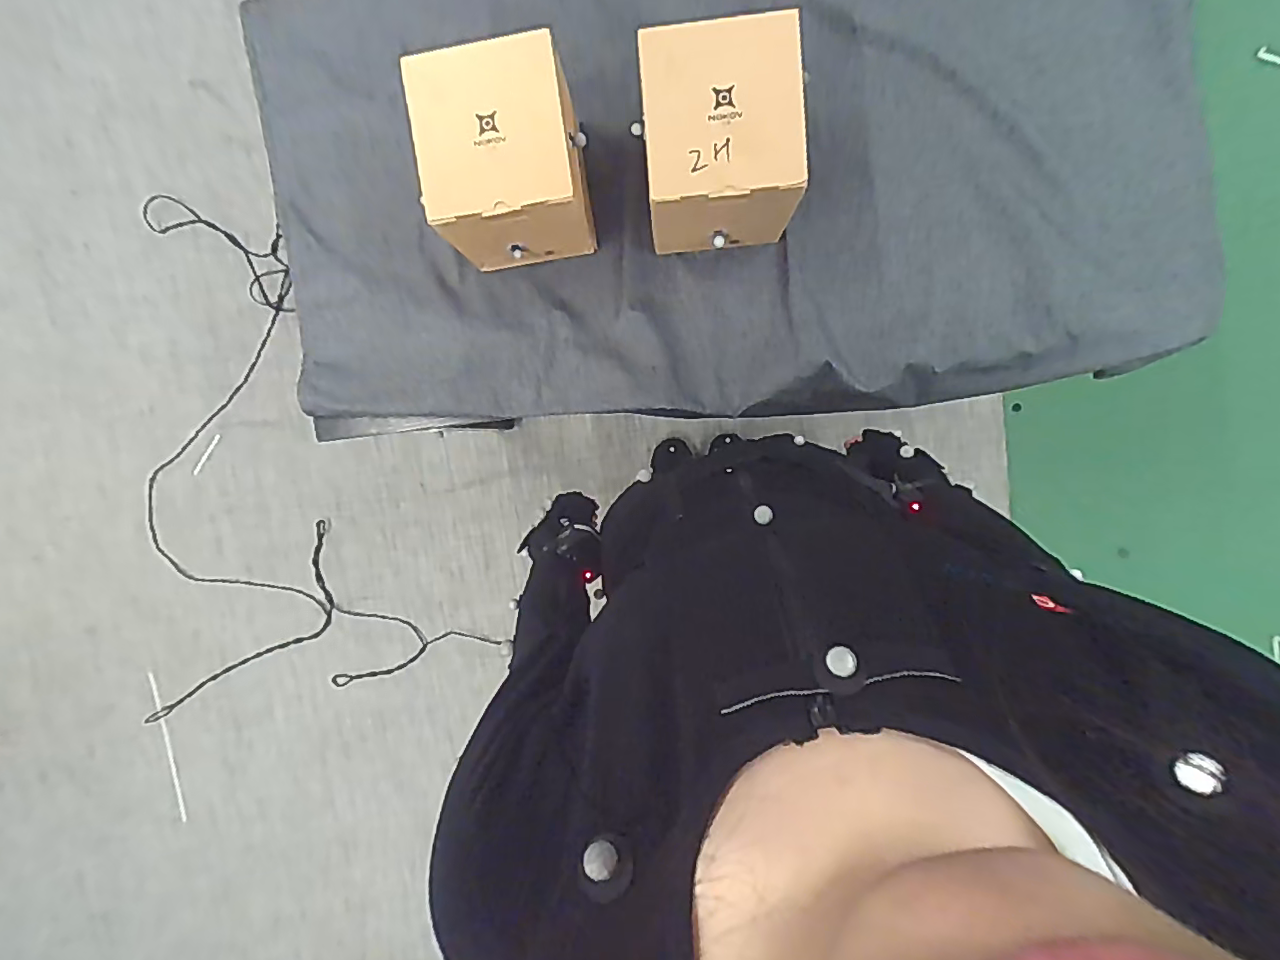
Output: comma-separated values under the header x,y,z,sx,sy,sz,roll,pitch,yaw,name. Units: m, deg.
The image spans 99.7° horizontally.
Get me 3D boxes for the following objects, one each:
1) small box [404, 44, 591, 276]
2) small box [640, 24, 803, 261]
x,y,z,sx,sy,sz,roll,pitch,yaw,name
-0.160,-0.372,0.660,0.168,0.176,0.179,-8,94,4,small box
0.088,-0.382,0.643,0.168,0.176,0.179,-4,94,4,small box
